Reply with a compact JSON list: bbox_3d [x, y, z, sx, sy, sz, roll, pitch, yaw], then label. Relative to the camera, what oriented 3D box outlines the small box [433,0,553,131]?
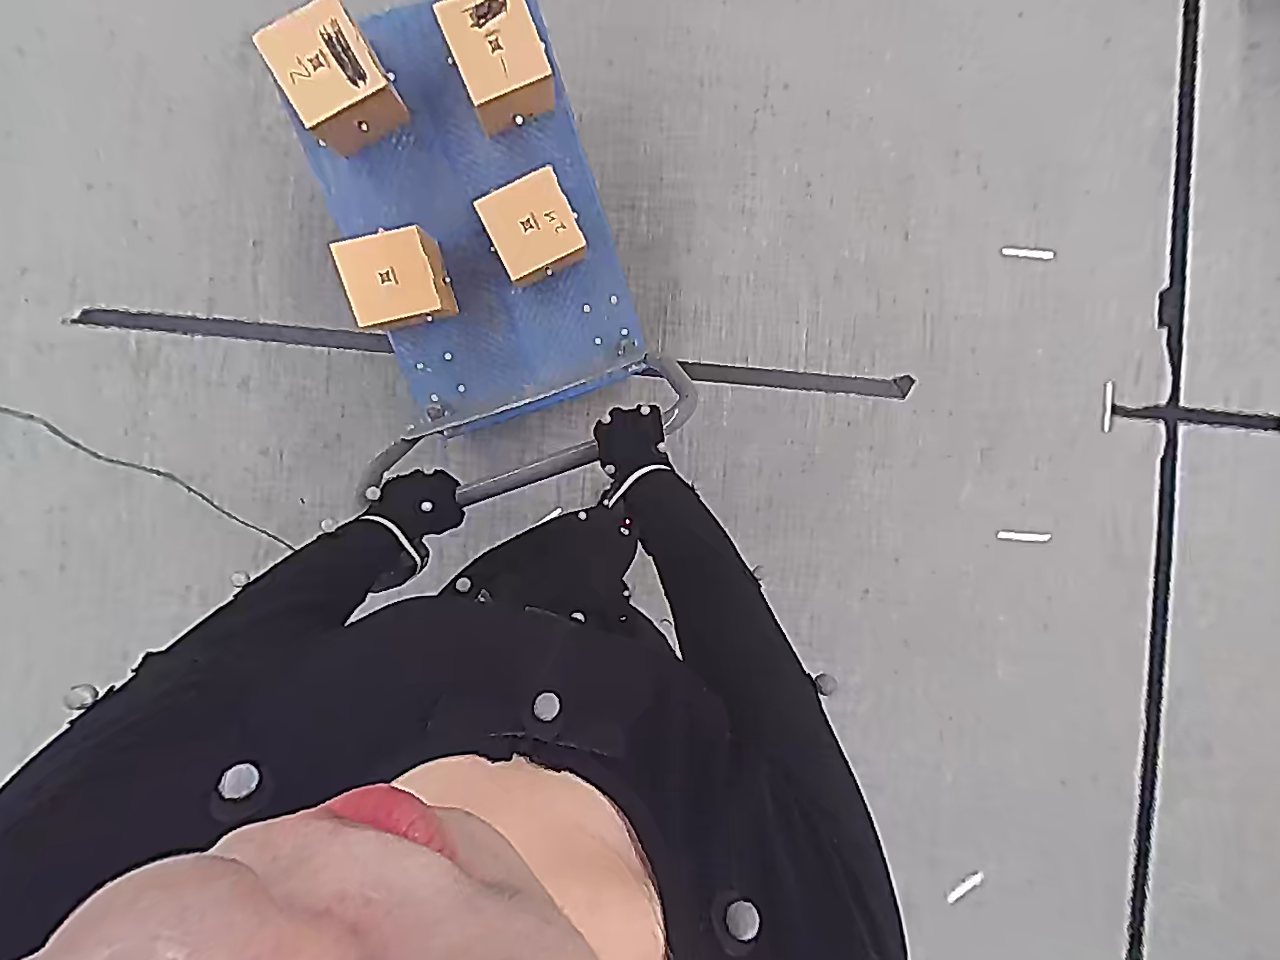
[{"bbox_3d":[-0.284,-0.848,1.086,0.168,0.176,0.179,-24,106,0],"label":"small box"}]

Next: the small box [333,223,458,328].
[{"bbox_3d":[-0.515,-0.430,1.165,0.179,0.176,0.168,-16,105,-4],"label":"small box"}]

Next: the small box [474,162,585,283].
[{"bbox_3d":[-0.228,-0.543,1.169,0.179,0.176,0.168,-26,106,1],"label":"small box"}]
